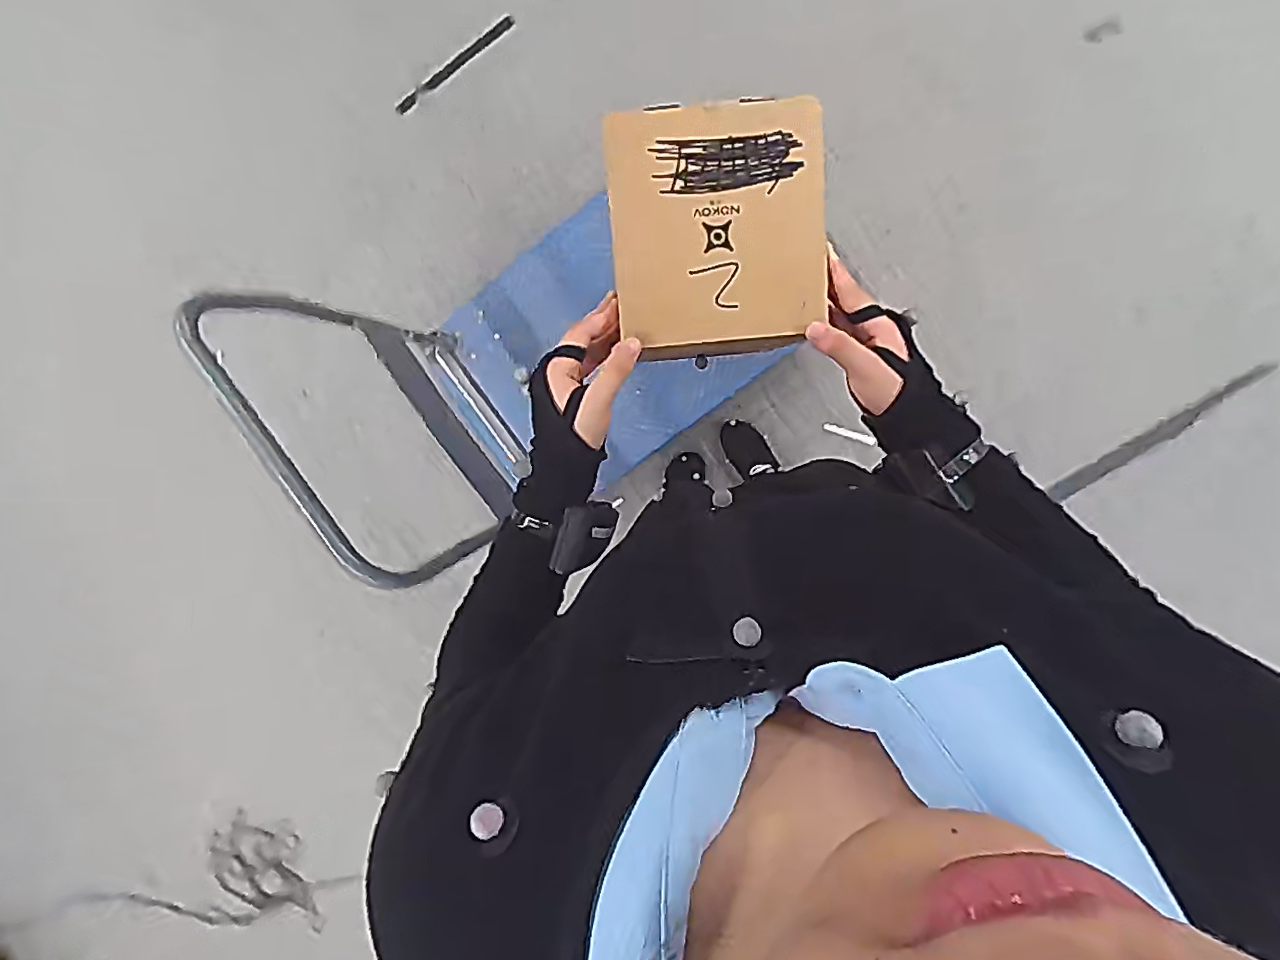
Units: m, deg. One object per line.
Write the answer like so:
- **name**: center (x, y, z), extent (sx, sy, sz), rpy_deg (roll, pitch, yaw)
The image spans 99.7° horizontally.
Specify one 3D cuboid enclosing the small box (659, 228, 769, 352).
- **small box**: center (0.160, -0.403, 1.185), extent (0.168, 0.176, 0.179), rpy_deg (-33, 90, 9)
